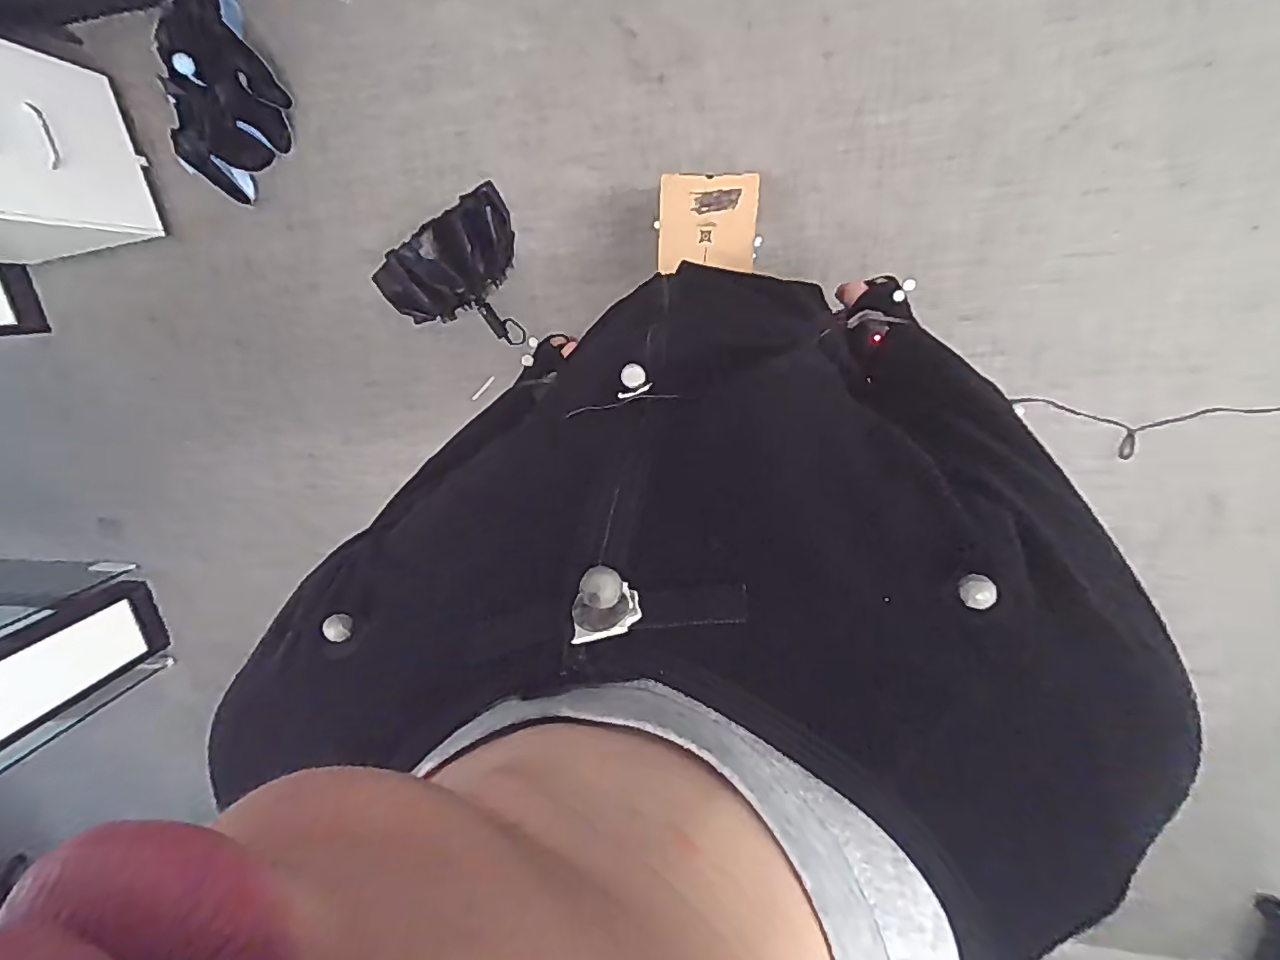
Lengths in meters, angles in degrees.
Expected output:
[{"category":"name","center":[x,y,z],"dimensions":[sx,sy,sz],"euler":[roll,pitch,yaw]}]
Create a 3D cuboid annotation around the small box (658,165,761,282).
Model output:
[{"category":"small box","center":[0.126,-0.464,0.997],"dimensions":[0.168,0.176,0.179],"euler":[5,110,8]}]
